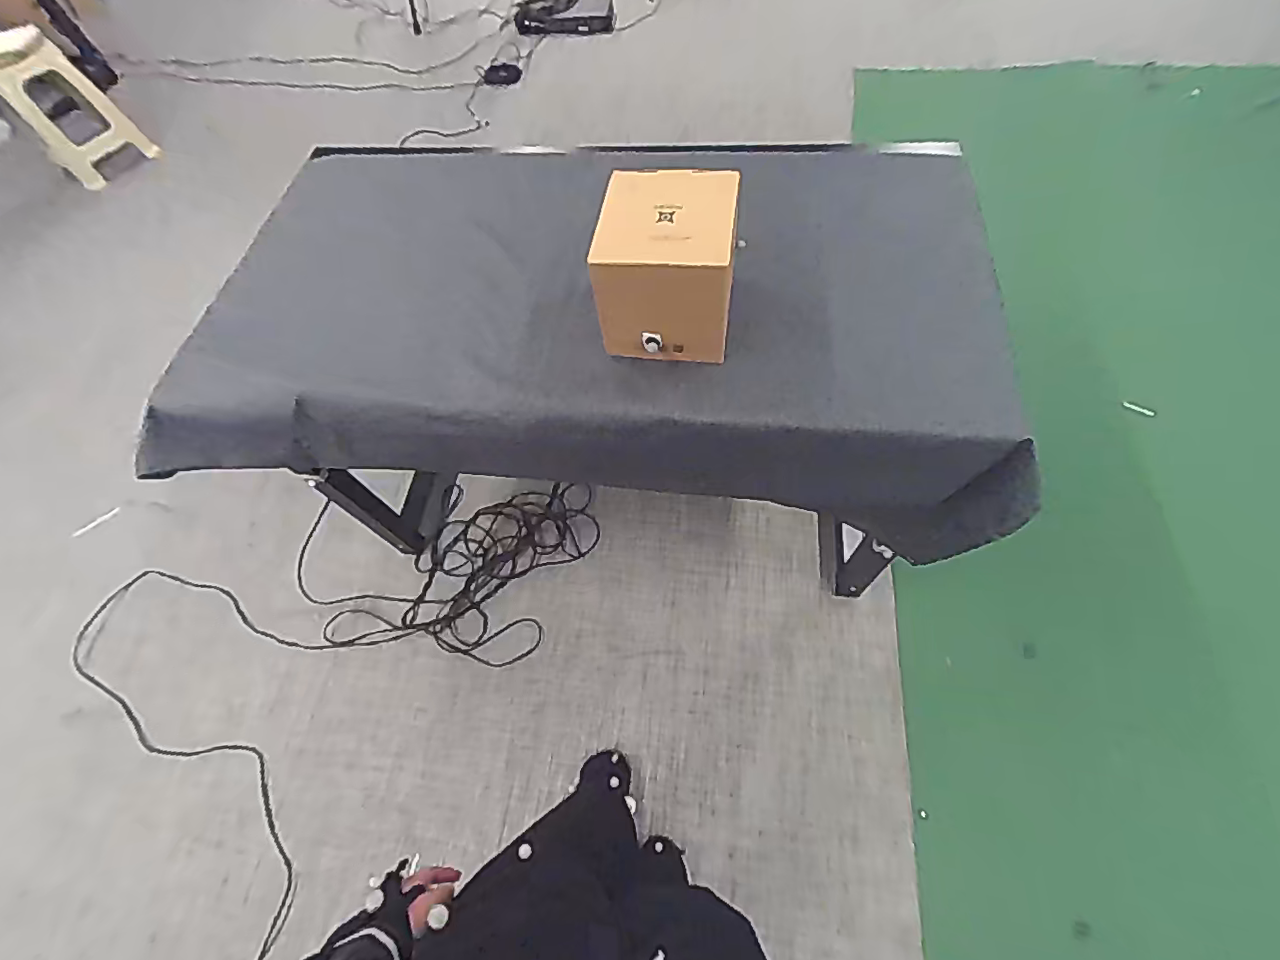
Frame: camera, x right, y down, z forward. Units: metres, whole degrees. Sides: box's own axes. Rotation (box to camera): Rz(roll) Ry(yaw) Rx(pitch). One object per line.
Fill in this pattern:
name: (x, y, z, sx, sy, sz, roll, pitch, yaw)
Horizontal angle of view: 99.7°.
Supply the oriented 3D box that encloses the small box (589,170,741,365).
small box: (0.040, -0.277, 0.715, 0.168, 0.176, 0.179, 4, 63, 9)
